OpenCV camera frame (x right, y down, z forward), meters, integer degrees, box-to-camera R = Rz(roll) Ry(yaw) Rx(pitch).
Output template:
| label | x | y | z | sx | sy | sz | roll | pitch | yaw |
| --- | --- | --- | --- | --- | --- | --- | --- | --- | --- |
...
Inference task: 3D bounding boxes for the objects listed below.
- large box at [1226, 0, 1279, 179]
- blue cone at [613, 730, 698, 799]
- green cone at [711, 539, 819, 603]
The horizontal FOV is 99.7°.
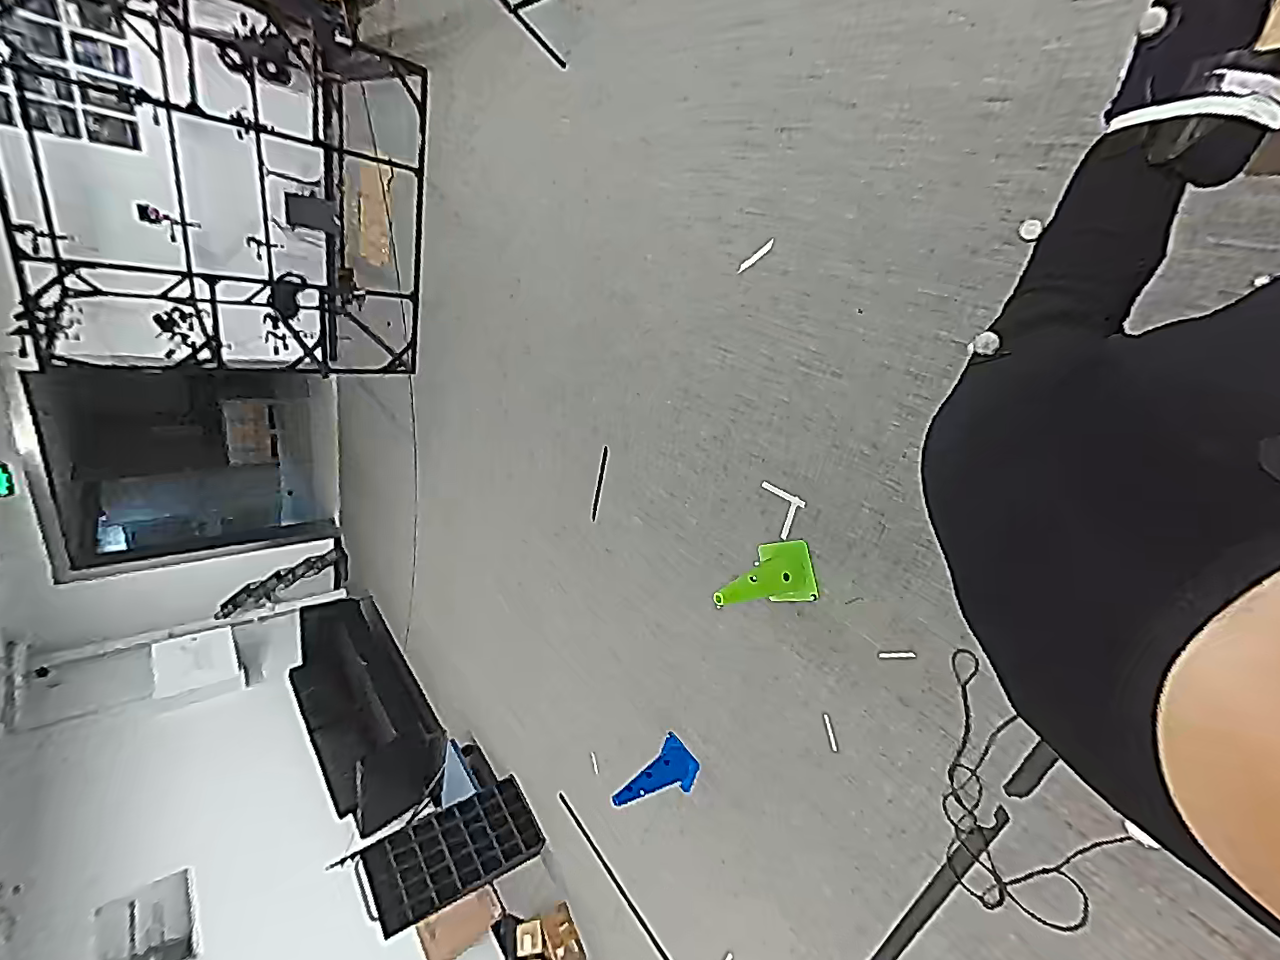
| label | x | y | z | sx | sy | sz | roll | pitch | yaw |
| --- | --- | --- | --- | --- | --- | --- | --- | --- | --- |
| large box | 0.649 | -0.348 | 0.273 | 0.408 | 0.320 | 0.320 | 30 | 124 | 40 |
| blue cone | 0.050 | 1.247 | 2.279 | 0.192 | 0.380 | 0.193 | 40 | 125 | 39 |
| green cone | 0.367 | 0.321 | 1.711 | 0.202 | 0.368 | 0.200 | -17 | 83 | 51 |
